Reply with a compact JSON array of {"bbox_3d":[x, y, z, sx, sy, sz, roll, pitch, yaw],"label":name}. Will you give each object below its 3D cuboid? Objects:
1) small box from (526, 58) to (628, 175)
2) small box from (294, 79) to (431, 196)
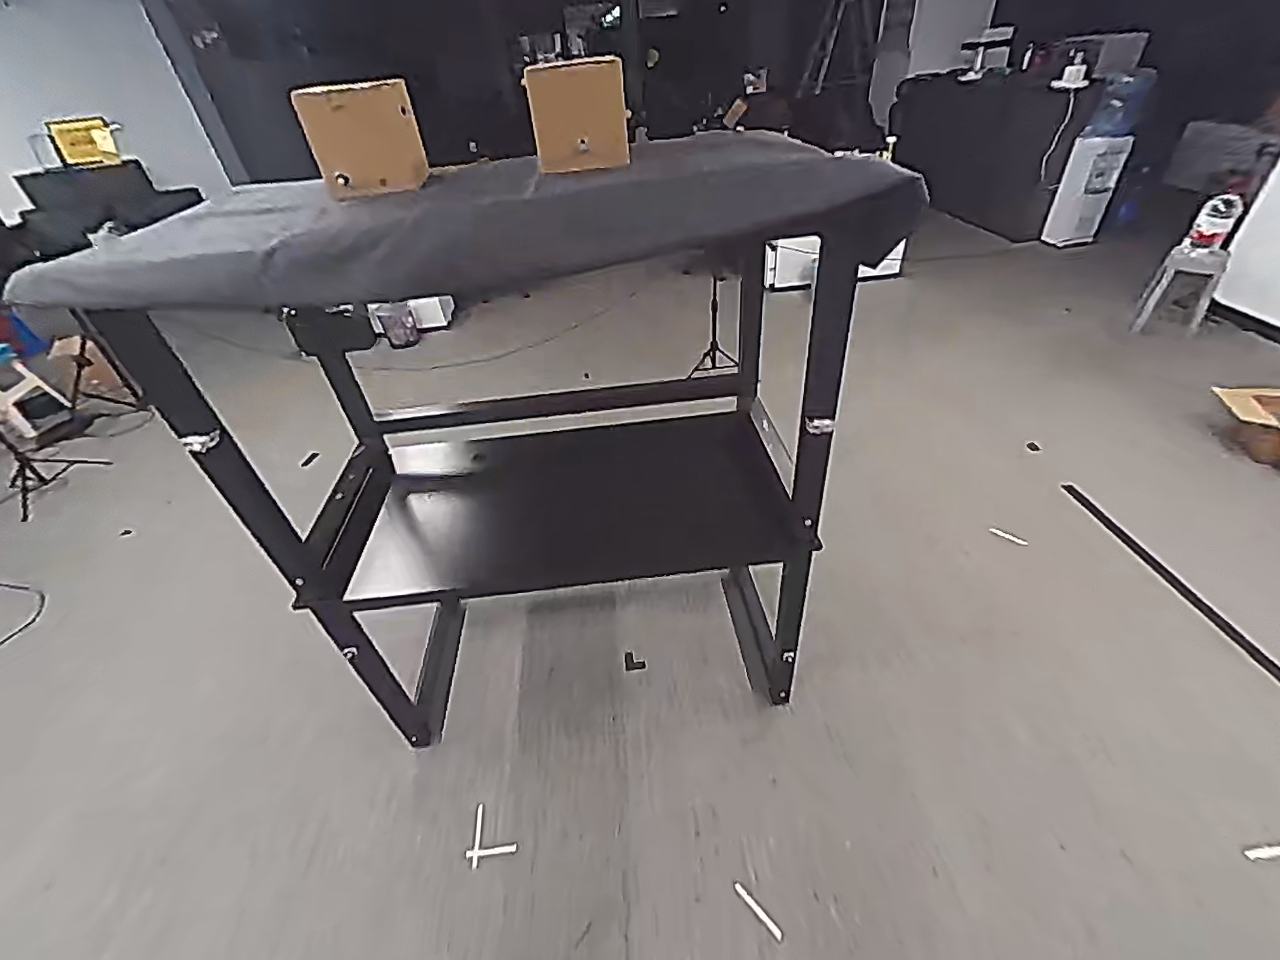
[{"bbox_3d":[-0.116,-0.713,1.061,0.179,0.176,0.168,-7,39,-2],"label":"small box"},{"bbox_3d":[-0.520,-0.658,1.045,0.168,0.176,0.179,-9,39,-4],"label":"small box"}]
